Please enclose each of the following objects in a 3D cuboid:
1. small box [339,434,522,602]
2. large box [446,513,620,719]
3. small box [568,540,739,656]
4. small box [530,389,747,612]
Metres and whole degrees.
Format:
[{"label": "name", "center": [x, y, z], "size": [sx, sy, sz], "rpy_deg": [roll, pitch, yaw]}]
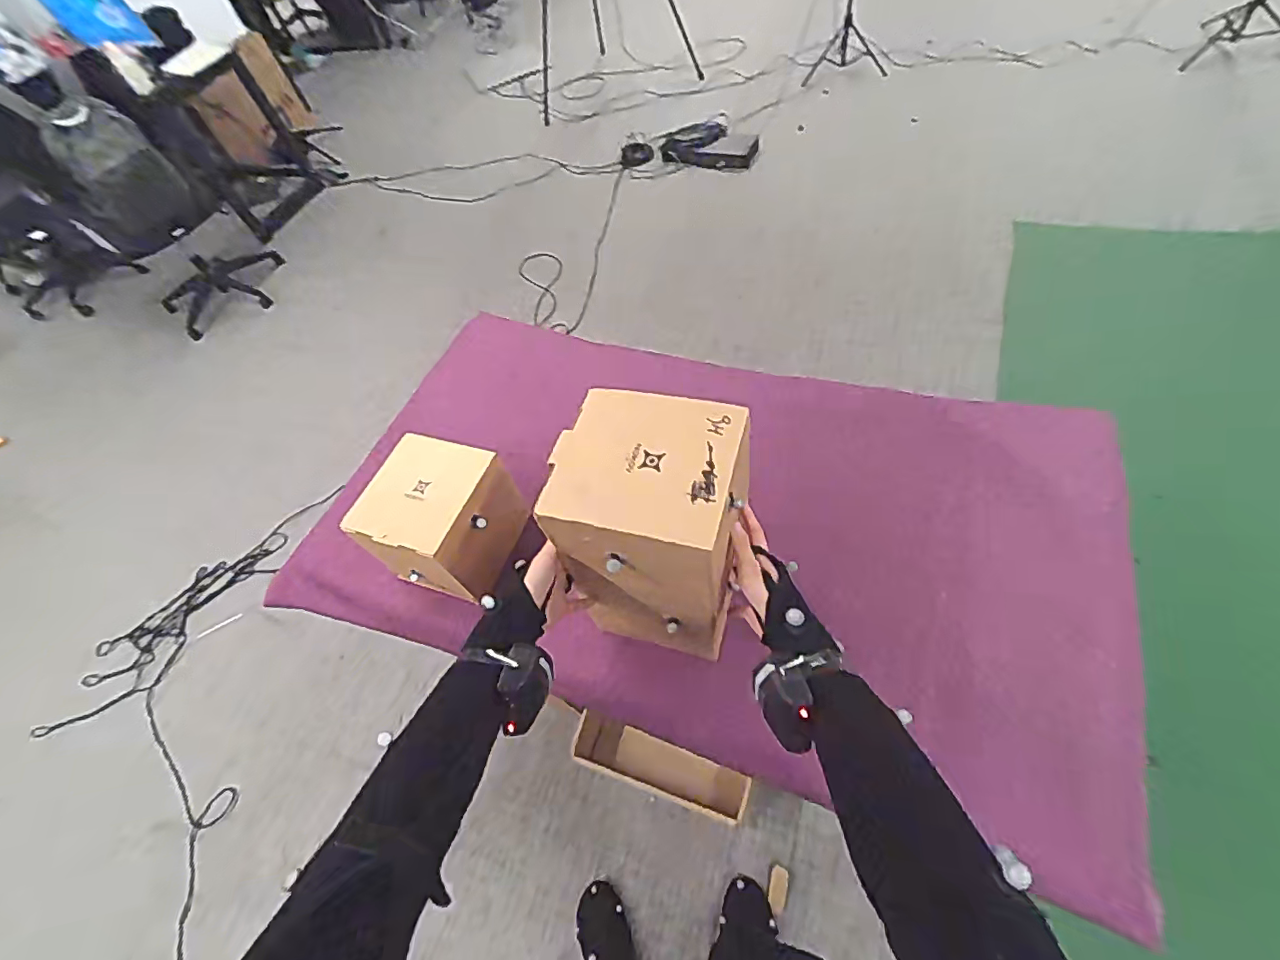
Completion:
[{"label": "small box", "center": [-0.301, 0.060, 0.826], "size": [0.168, 0.176, 0.179], "rpy_deg": [13, 60, 18]}, {"label": "large box", "center": [-0.226, 0.355, 1.421], "size": [0.320, 0.320, 0.408], "rpy_deg": [12, 61, 18]}, {"label": "small box", "center": [0.032, 0.117, 0.717], "size": [0.179, 0.176, 0.168], "rpy_deg": [10, 58, 17]}, {"label": "small box", "center": [0.014, 0.026, 0.582], "size": [0.179, 0.176, 0.168], "rpy_deg": [9, 59, 17]}]
